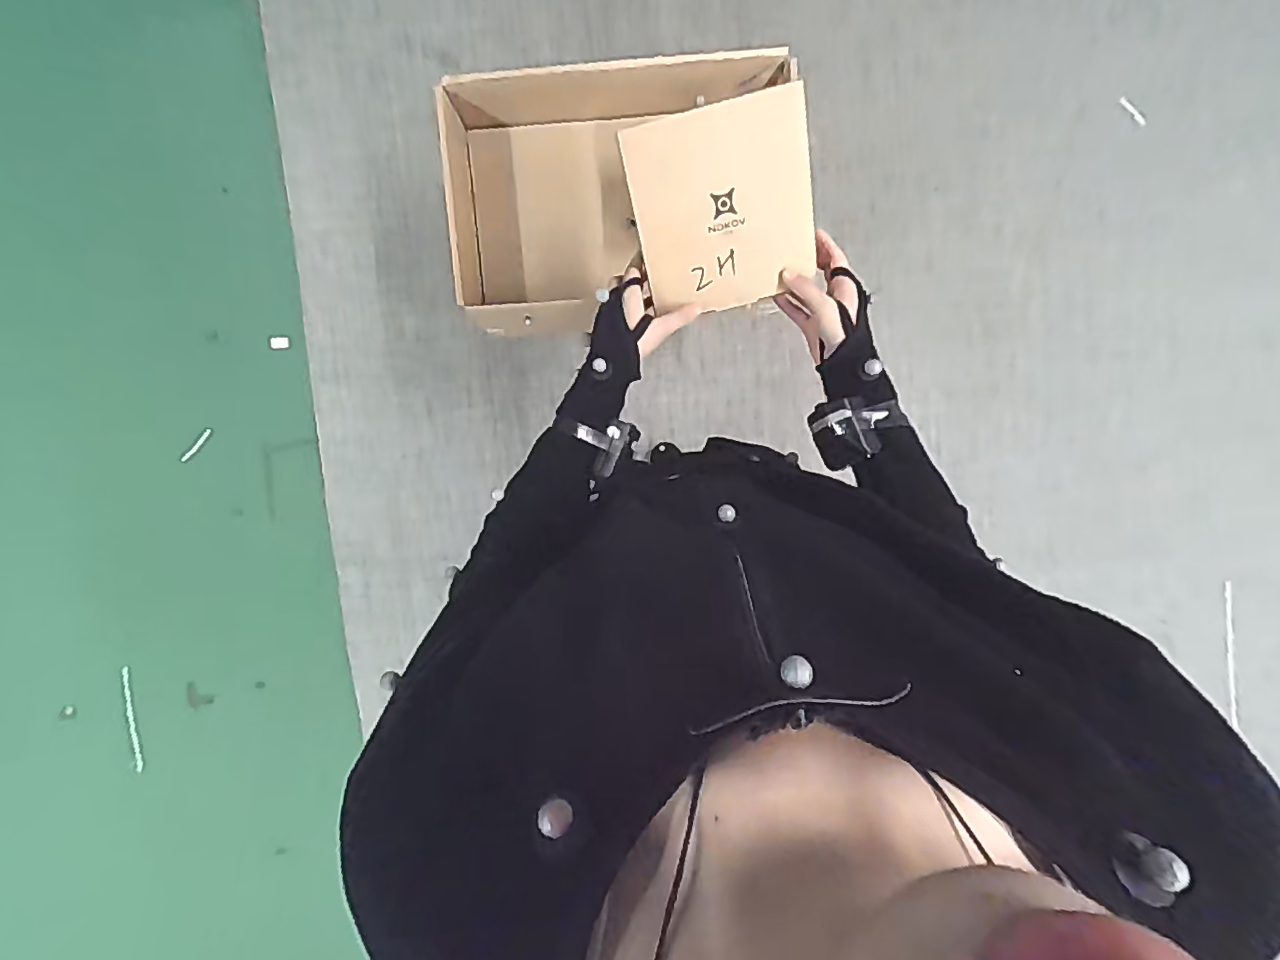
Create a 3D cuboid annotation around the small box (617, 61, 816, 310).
[{"bbox_3d":[0.073,-0.297,0.565,0.168,0.176,0.179,-12,119,5],"label":"small box"}]
